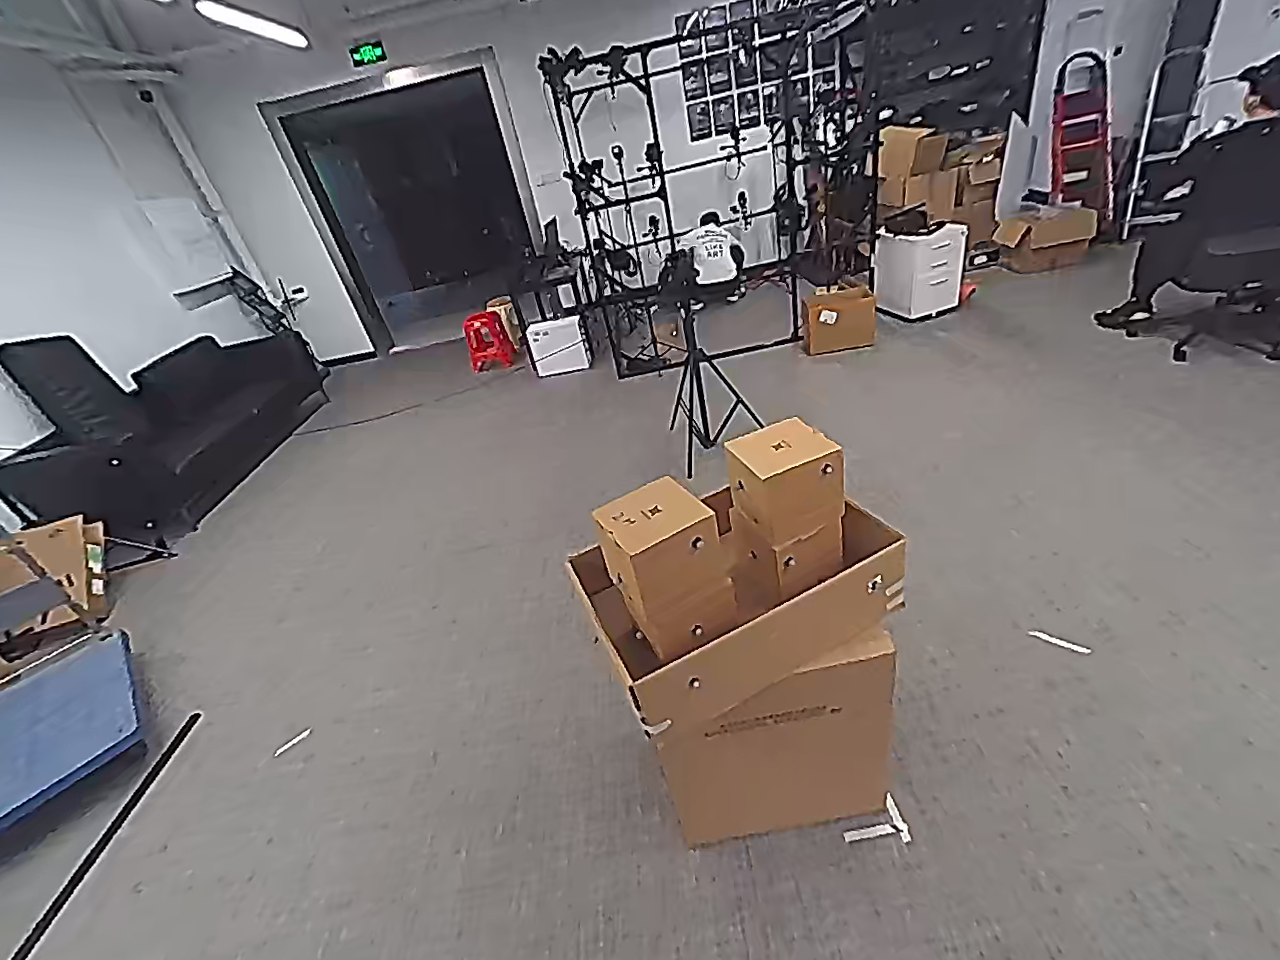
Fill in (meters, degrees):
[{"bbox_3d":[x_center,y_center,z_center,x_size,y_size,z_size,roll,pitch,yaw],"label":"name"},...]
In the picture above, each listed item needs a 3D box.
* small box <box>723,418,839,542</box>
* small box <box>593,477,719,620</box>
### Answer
[{"bbox_3d":[0.295,0.001,1.119,0.179,0.176,0.168,-21,33,-10],"label":"small box"},{"bbox_3d":[0.036,0.127,1.023,0.179,0.176,0.168,-25,34,-18],"label":"small box"}]
